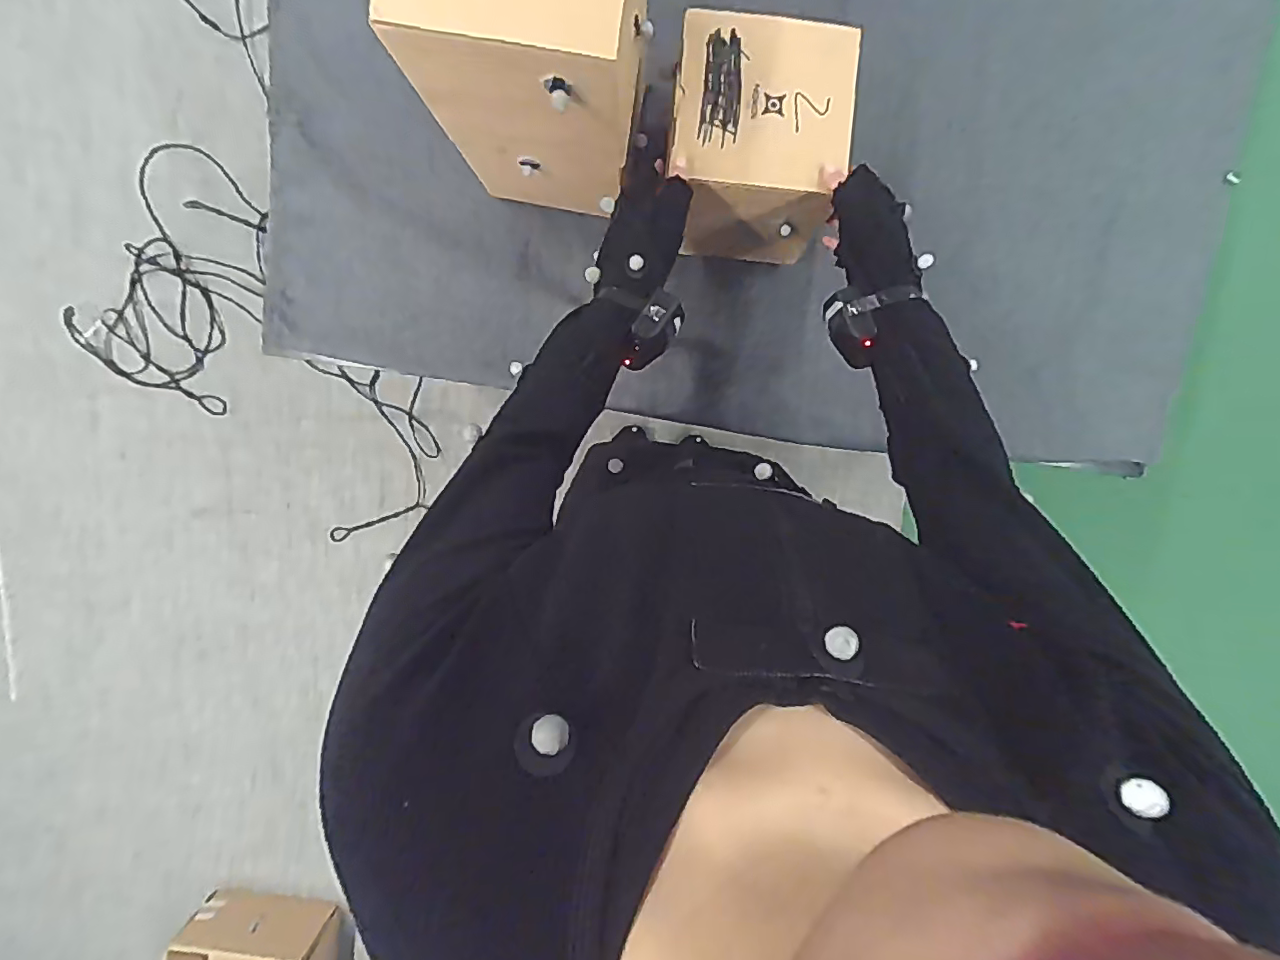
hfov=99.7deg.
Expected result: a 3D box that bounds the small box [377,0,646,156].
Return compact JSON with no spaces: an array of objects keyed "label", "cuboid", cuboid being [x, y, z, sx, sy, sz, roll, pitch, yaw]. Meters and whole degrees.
[{"label":"small box","cuboid":[-0.087,-0.399,0.448,0.179,0.176,0.168,8,96,-1]}]
